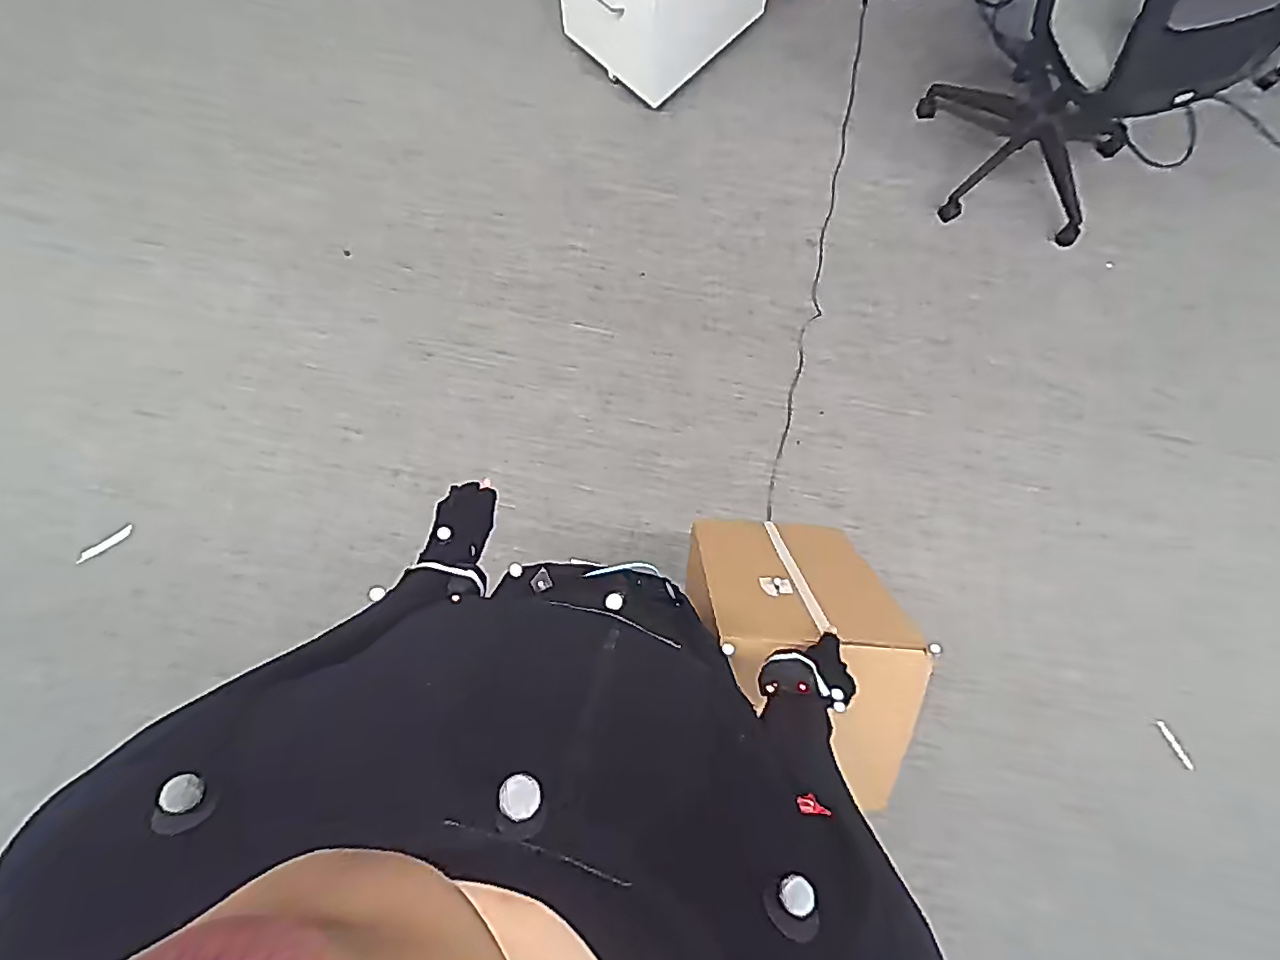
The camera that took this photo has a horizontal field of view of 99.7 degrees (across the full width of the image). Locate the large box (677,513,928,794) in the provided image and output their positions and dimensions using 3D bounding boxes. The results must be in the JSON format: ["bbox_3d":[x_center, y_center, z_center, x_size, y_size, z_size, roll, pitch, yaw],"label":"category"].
[{"bbox_3d":[0.249,0.292,1.006,0.320,0.408,0.320,3,112,-1],"label":"large box"}]
